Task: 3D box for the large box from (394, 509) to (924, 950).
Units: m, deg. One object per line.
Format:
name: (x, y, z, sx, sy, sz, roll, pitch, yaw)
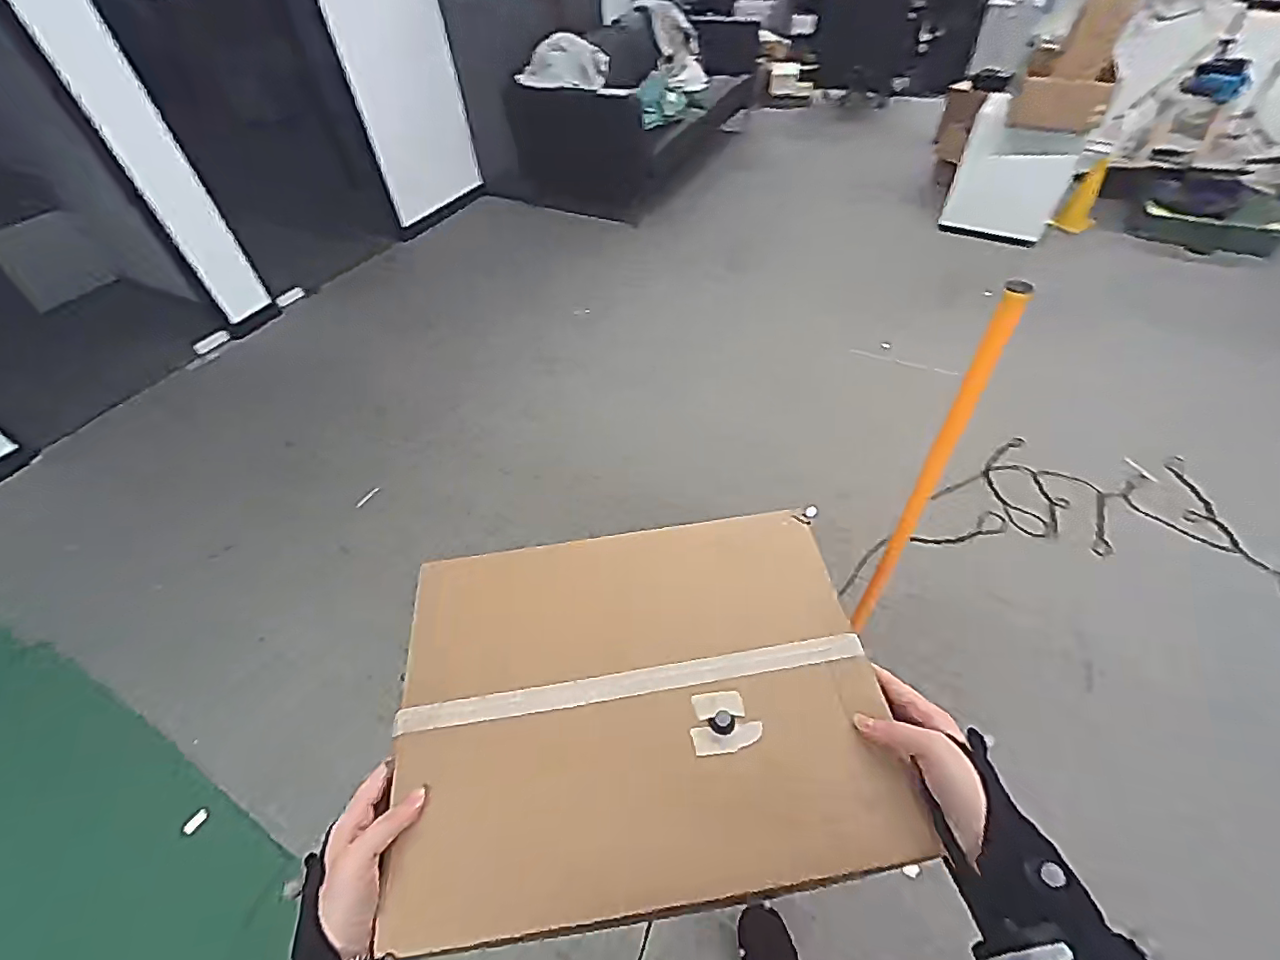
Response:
large box: (0.000, 0.272, 0.597, 0.408, 0.320, 0.320, -8, 51, -5)
